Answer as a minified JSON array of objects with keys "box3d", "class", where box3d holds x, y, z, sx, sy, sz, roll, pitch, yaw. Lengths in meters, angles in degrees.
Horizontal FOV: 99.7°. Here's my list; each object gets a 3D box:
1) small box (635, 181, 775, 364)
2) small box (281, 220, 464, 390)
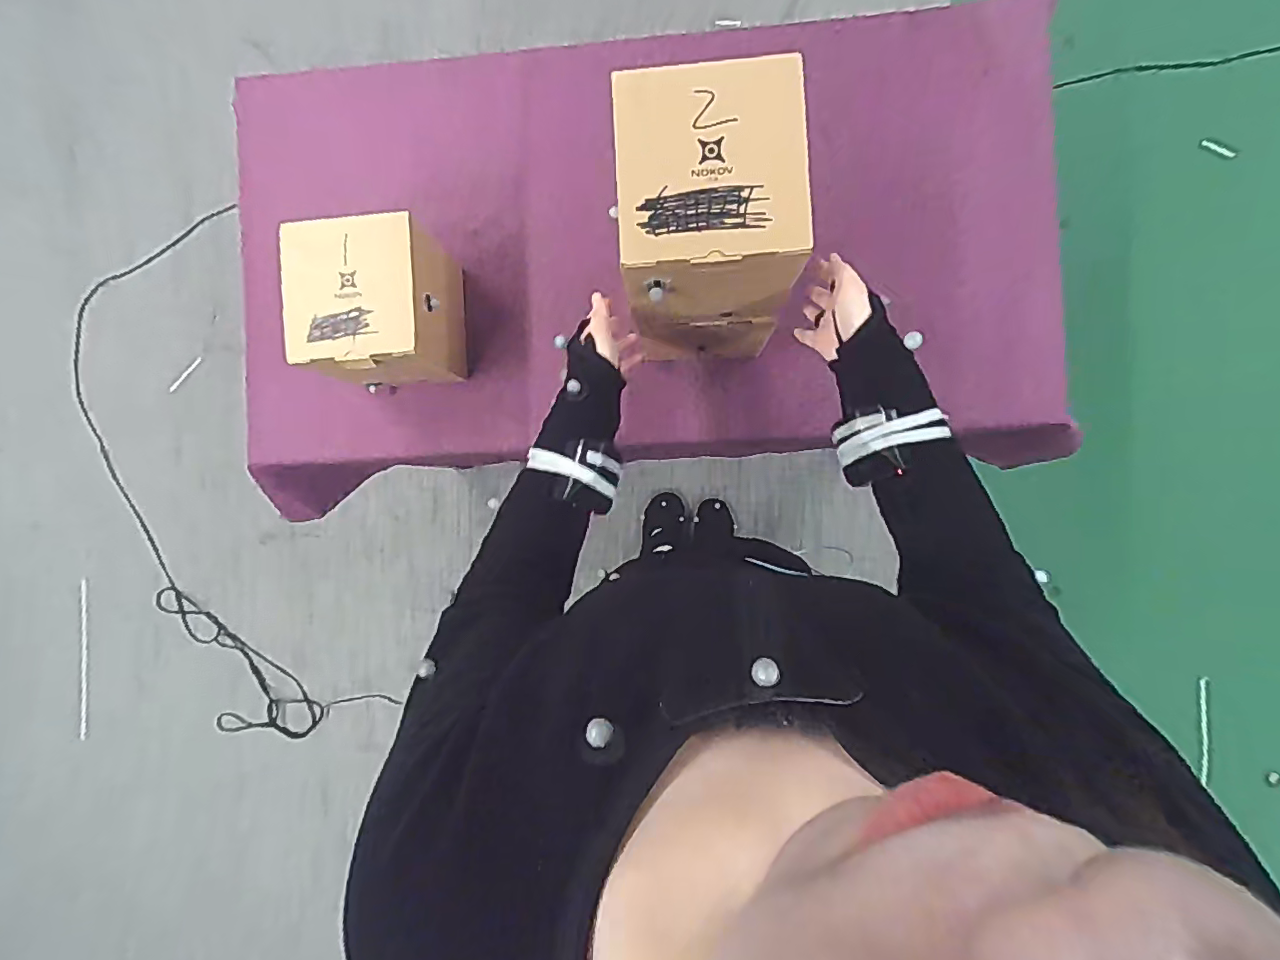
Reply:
[{"box3d":[0.080,-0.260,0.711,0.168,0.176,0.179,0,89,4],"class":"small box"},{"box3d":[-0.351,-0.224,0.739,0.168,0.176,0.179,-4,87,3],"class":"small box"}]
